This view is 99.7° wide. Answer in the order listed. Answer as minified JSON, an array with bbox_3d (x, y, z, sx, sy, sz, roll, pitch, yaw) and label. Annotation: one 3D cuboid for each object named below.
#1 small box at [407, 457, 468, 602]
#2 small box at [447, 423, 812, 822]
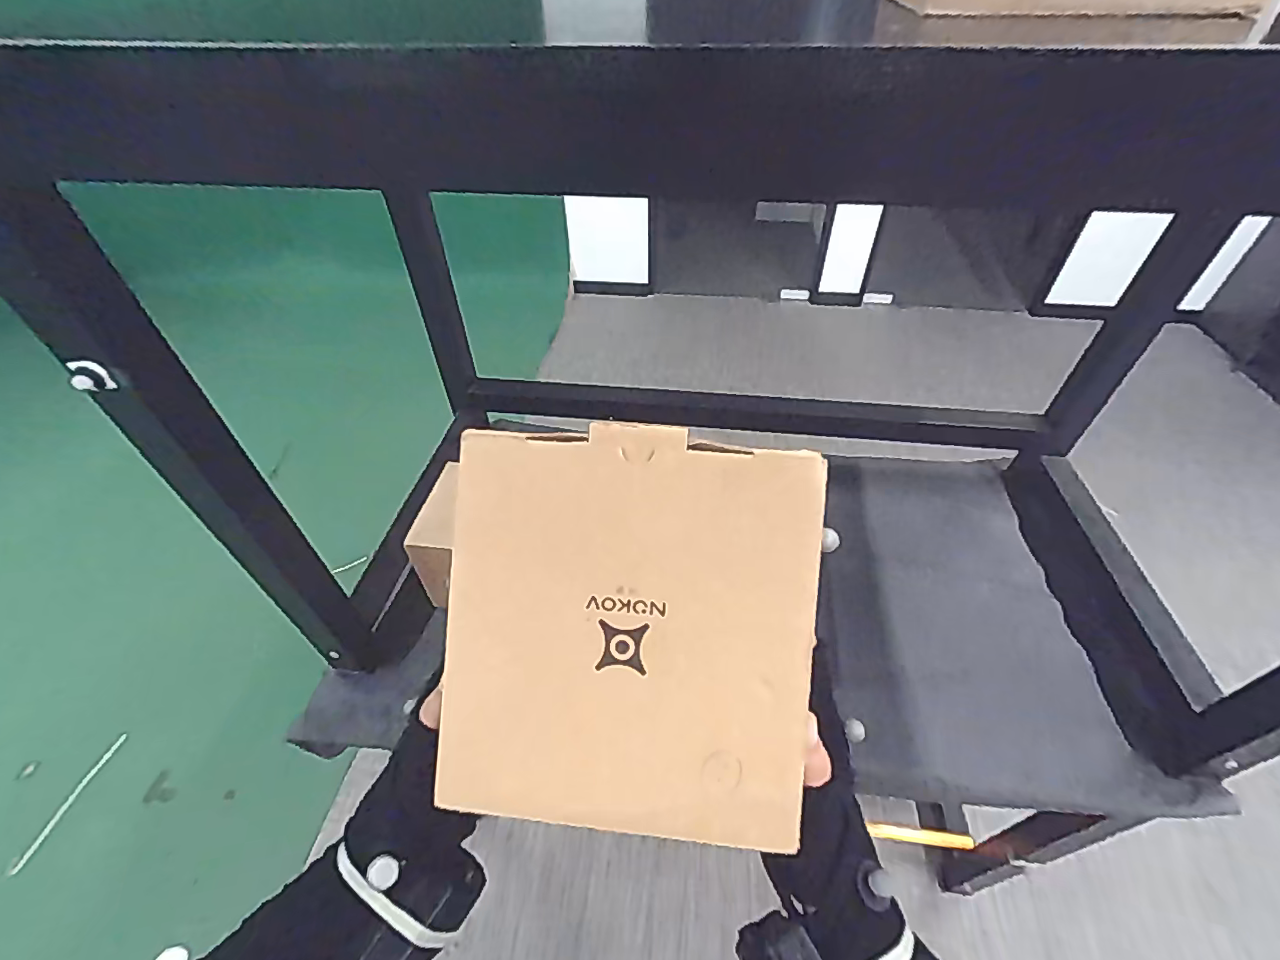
[{"bbox_3d":[-0.246,0.088,0.885,0.168,0.176,0.179,5,46,6],"label":"small box"},{"bbox_3d":[0.000,0.065,0.334,0.168,0.176,0.179,4,89,5],"label":"small box"}]
